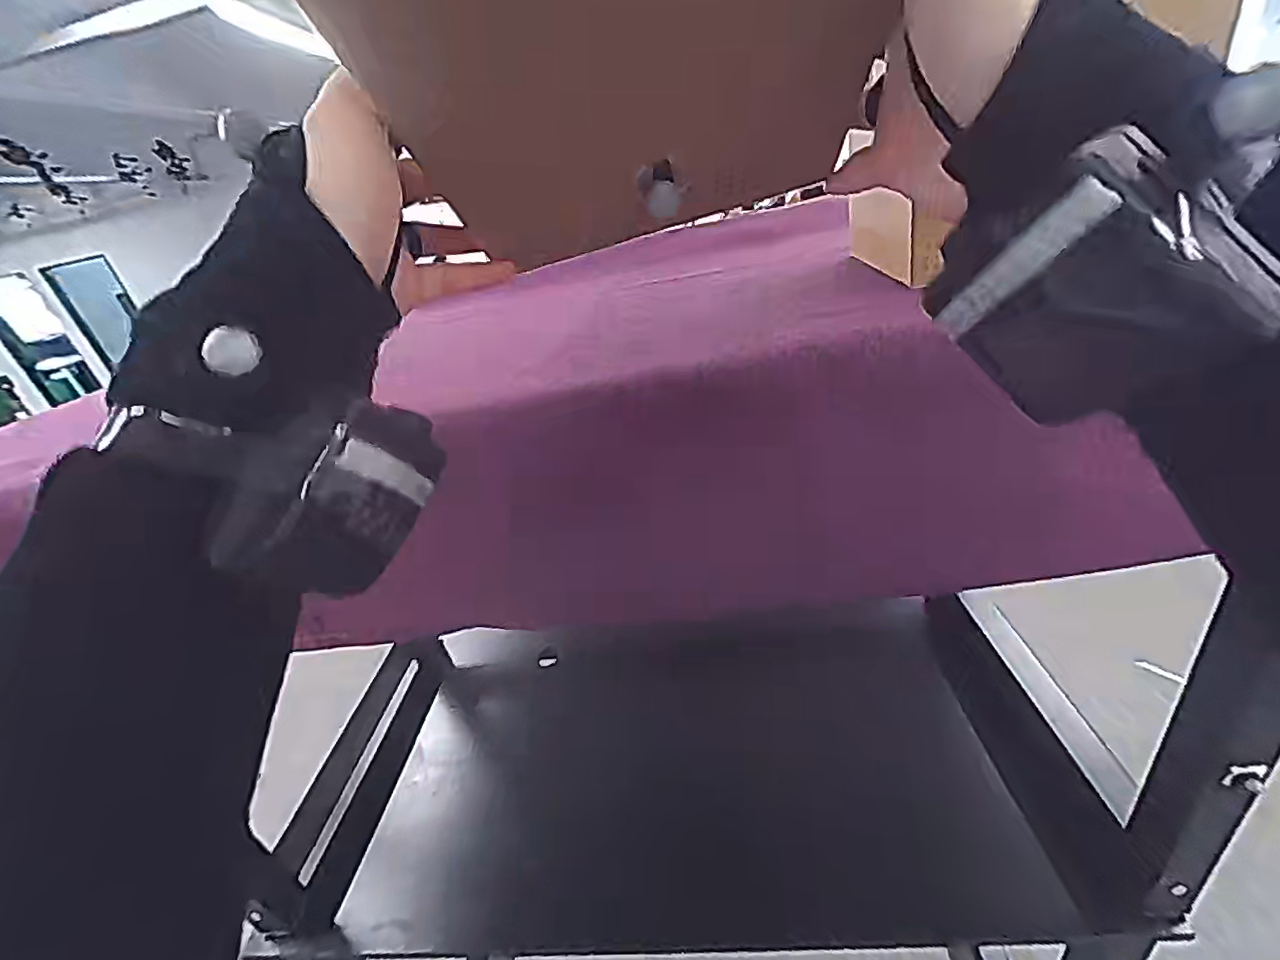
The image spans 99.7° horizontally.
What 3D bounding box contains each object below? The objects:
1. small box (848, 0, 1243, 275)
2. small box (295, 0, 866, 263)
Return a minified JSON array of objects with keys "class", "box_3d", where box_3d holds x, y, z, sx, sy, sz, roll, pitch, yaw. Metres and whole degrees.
[{"class":"small box","box_3d":[0.252,-0.254,0.386,0.168,0.176,0.179,-8,28,11]},{"class":"small box","box_3d":[-0.021,-0.215,0.205,0.179,0.168,0.176,-15,-10,4]}]
